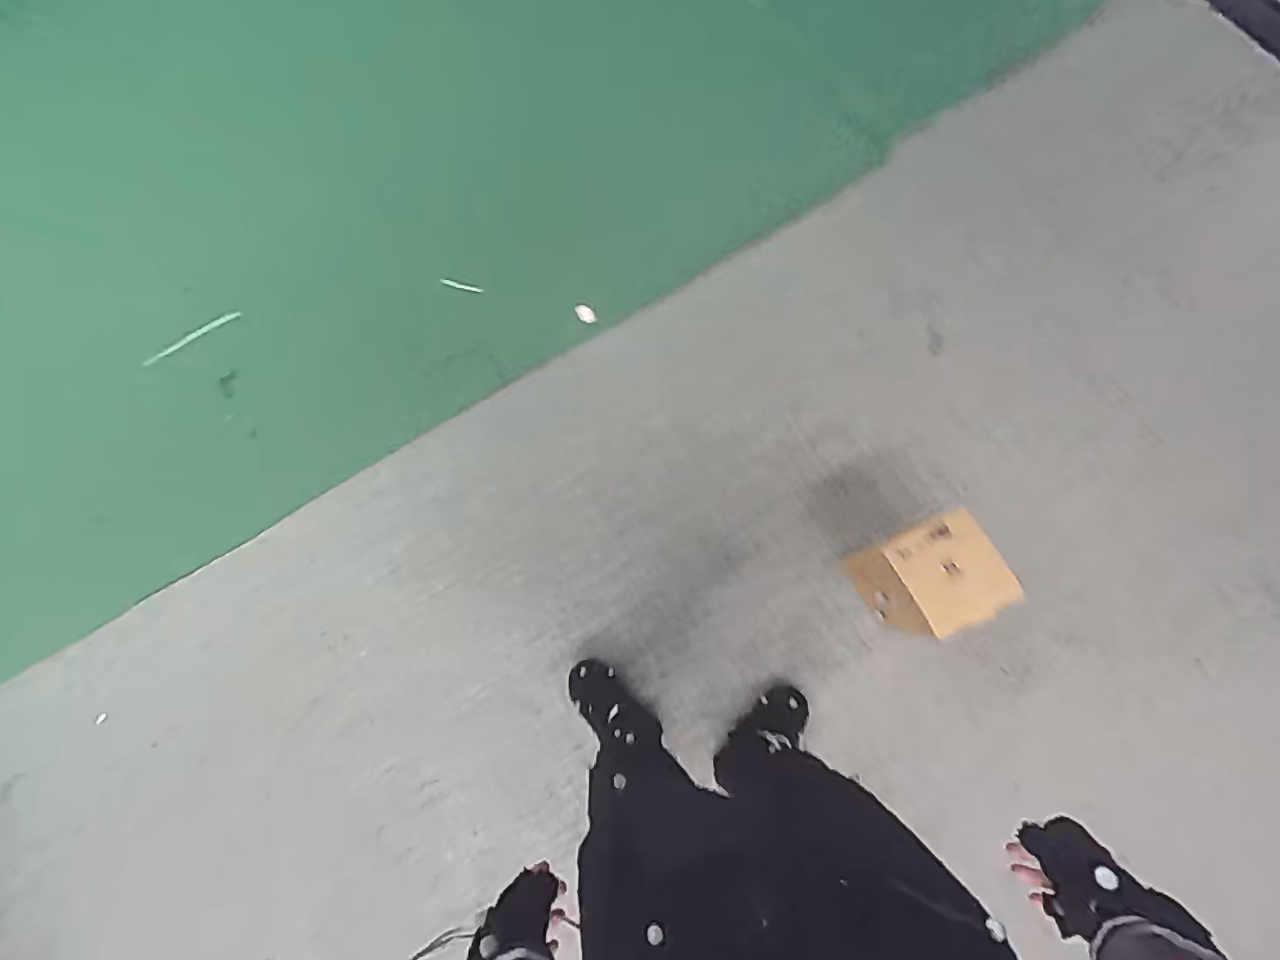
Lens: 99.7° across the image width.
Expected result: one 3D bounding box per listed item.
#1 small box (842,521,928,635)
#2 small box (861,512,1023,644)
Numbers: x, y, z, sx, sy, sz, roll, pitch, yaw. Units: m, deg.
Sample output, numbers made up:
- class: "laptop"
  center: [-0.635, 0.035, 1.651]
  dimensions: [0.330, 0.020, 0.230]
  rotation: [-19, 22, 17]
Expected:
- class: "small box"
  center: [0.566, 0.210, 1.157]
  dimensions: [0.168, 0.176, 0.179]
  rotation: [-31, 75, -1]
- class: "small box"
  center: [0.541, 0.179, 0.998]
  dimensions: [0.168, 0.176, 0.179]
  rotation: [-27, 77, 0]
